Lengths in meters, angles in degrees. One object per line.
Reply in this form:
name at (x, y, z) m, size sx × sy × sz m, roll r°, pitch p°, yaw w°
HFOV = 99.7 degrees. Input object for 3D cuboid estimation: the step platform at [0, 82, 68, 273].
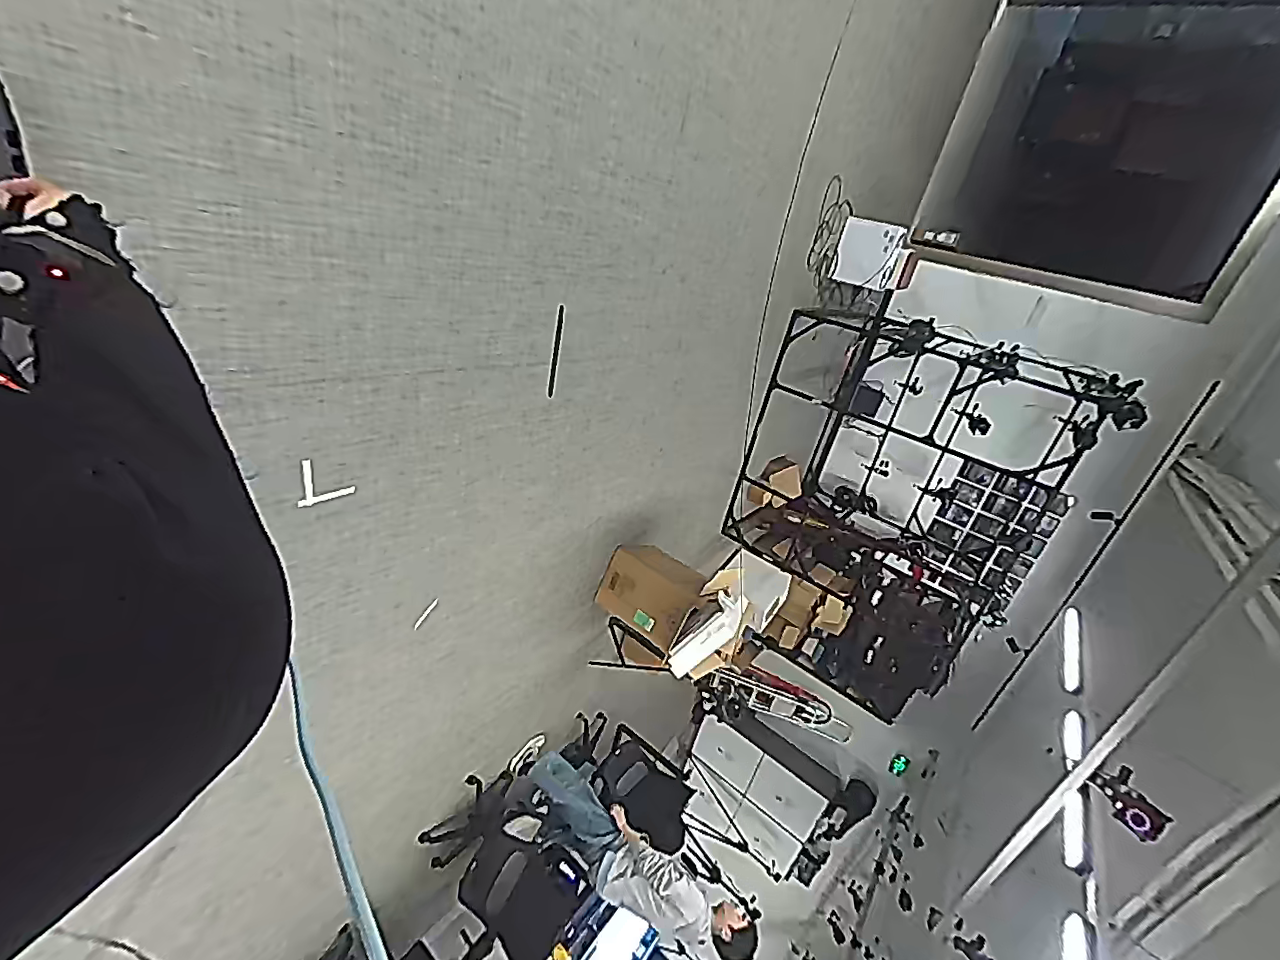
step platform at (-1.223, -0.466, 0.686) m, size 0.684 × 0.204 × 0.286 m, roll -16°, pitch 126°, yaw -54°
